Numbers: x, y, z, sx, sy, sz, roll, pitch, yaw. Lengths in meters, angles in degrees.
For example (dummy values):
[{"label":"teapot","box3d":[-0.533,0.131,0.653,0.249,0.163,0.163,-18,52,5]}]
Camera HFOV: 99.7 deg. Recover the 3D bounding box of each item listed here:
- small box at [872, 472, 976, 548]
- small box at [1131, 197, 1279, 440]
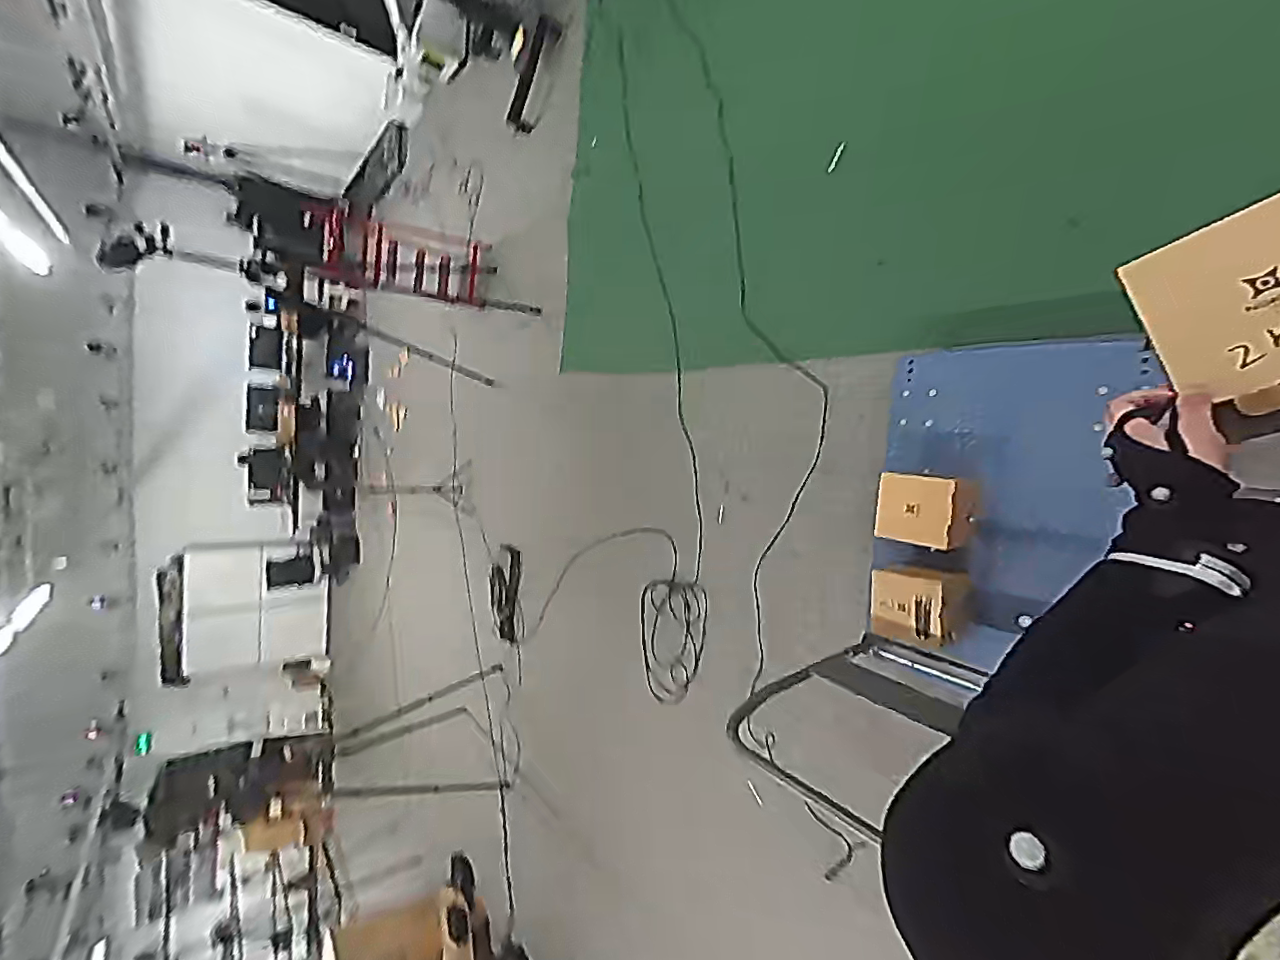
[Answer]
[{"label":"small box","box3d":[0.718,0.071,1.369,0.179,0.176,0.168,10,97,49]},{"label":"small box","box3d":[0.622,-0.154,0.532,0.168,0.176,0.179,-17,68,49]}]
